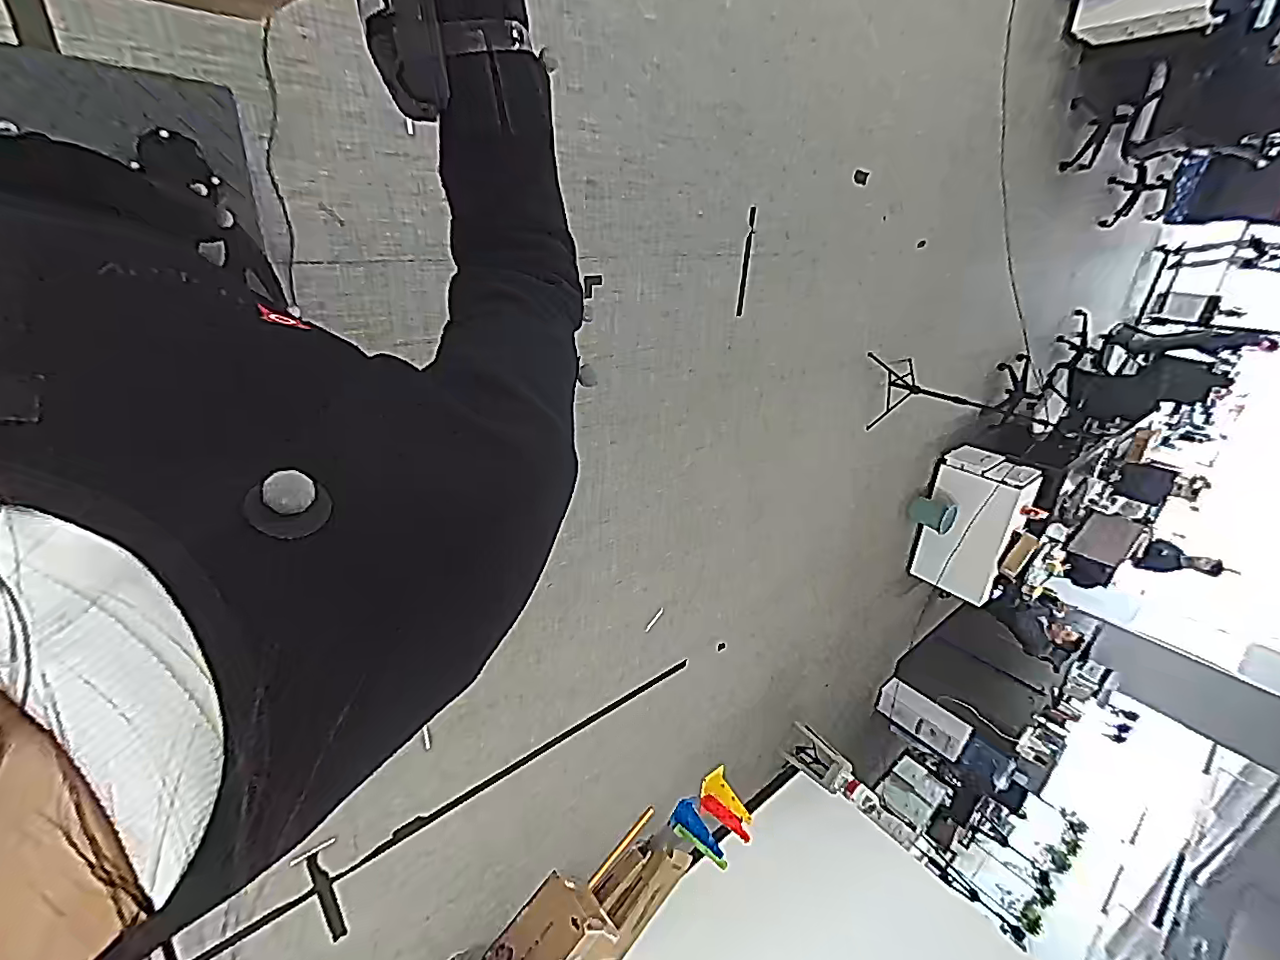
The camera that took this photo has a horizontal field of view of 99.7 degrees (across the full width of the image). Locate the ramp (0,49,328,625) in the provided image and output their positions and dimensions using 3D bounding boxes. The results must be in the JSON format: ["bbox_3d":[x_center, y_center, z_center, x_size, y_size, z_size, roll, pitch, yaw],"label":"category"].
[{"bbox_3d":[-0.984,-0.244,1.059,0.509,0.206,0.991,-16,120,-35],"label":"ramp"}]
